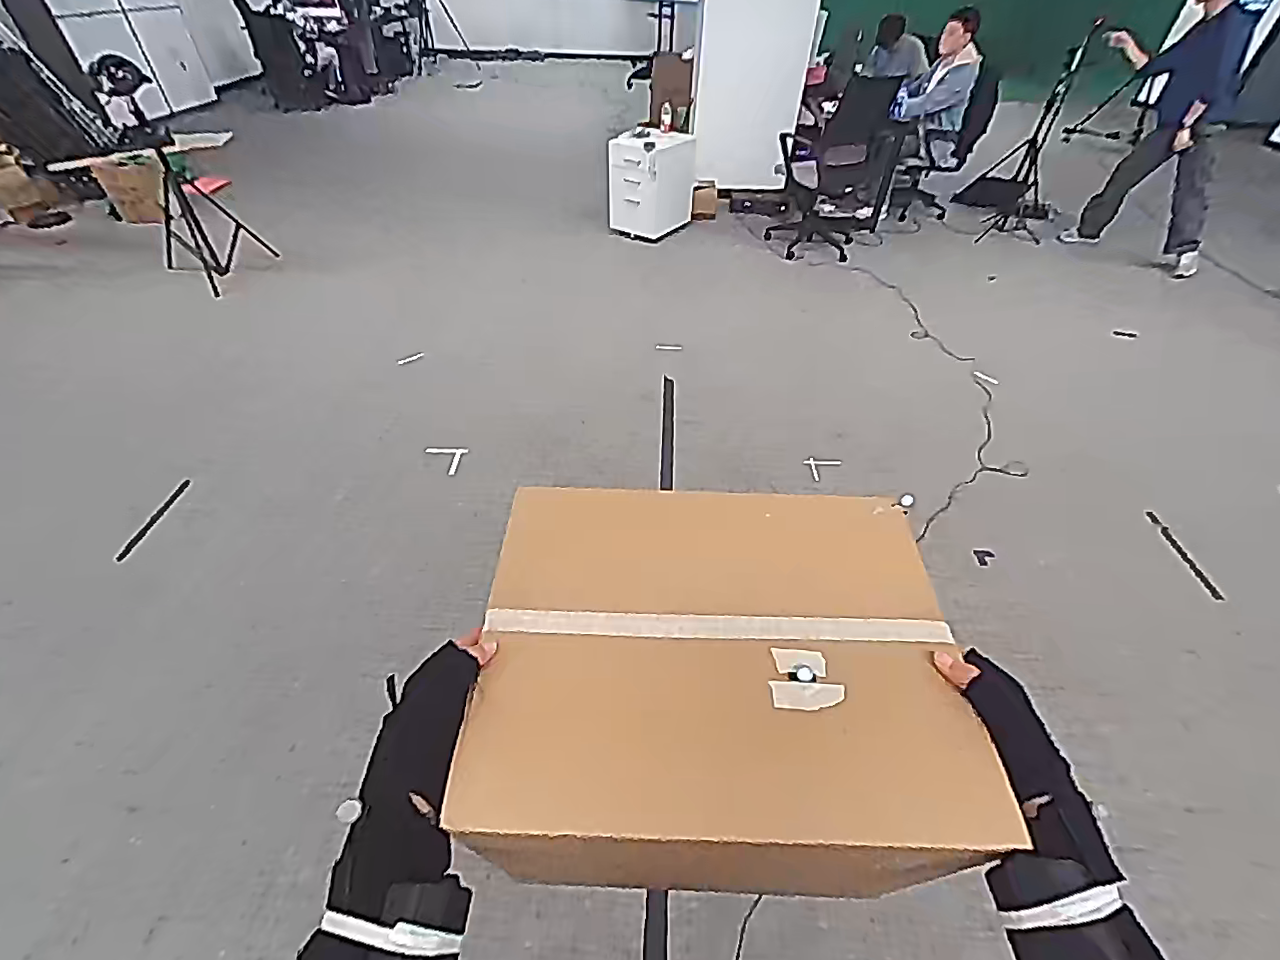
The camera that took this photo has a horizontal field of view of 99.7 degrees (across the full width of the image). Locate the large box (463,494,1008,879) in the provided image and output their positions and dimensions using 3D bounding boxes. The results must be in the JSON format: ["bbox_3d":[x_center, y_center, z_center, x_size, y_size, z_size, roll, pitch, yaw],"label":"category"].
[{"bbox_3d":[0.067,0.232,0.595,0.408,0.320,0.320,2,49,0],"label":"large box"}]
